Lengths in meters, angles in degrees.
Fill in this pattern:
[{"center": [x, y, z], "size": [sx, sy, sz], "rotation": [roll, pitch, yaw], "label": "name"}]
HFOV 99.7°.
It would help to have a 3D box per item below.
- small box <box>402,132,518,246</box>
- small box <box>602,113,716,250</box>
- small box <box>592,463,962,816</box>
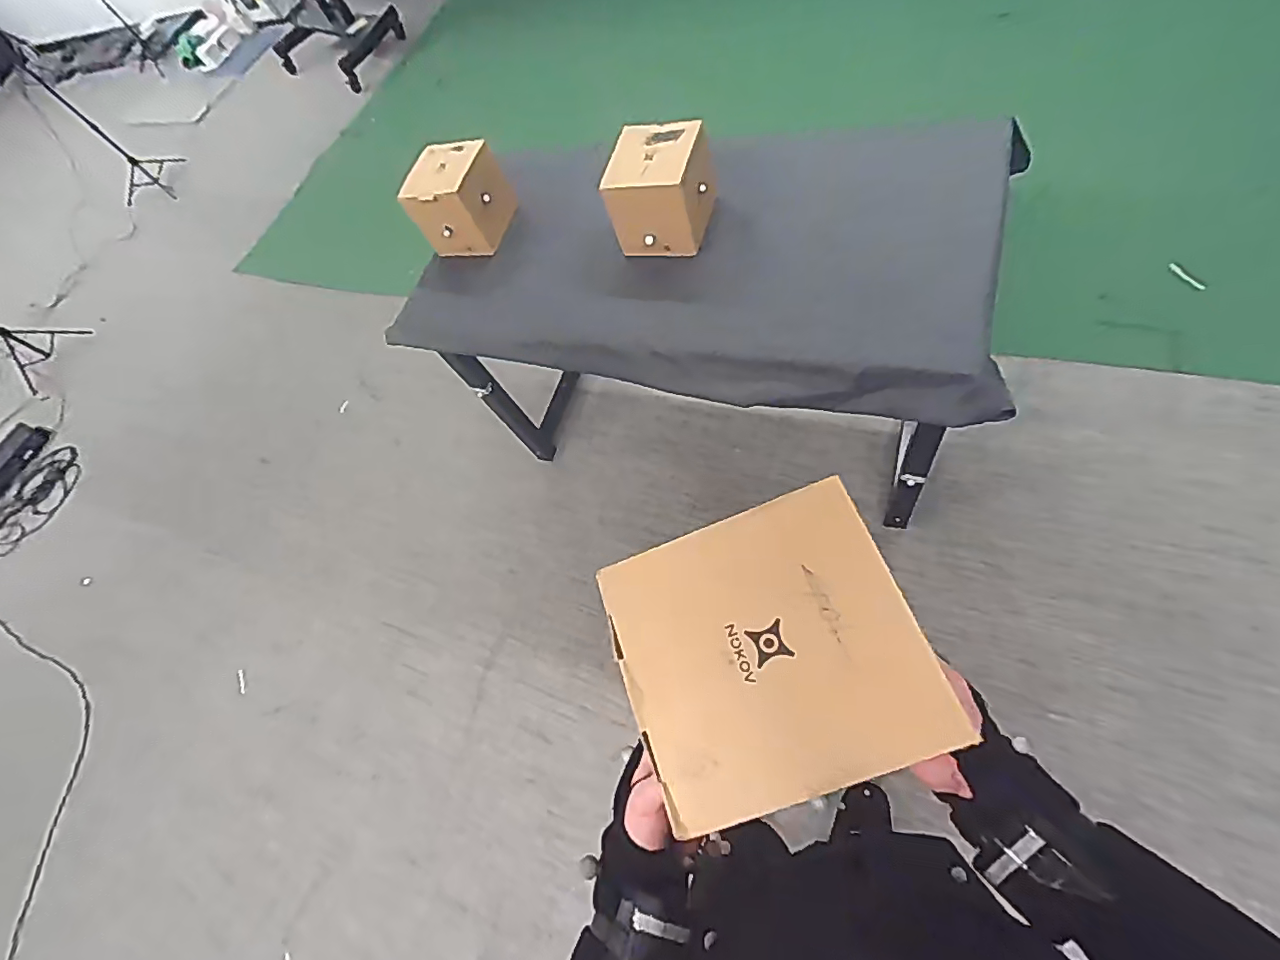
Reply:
[{"center": [-0.411, -0.670, 1.266], "size": [0.168, 0.176, 0.179], "rotation": [8, 69, 20], "label": "small box"}, {"center": [0.048, -0.592, 1.084], "size": [0.168, 0.176, 0.179], "rotation": [10, 70, 22], "label": "small box"}, {"center": [0.089, 0.117, 0.399], "size": [0.179, 0.176, 0.168], "rotation": [-22, 67, 6], "label": "small box"}]
